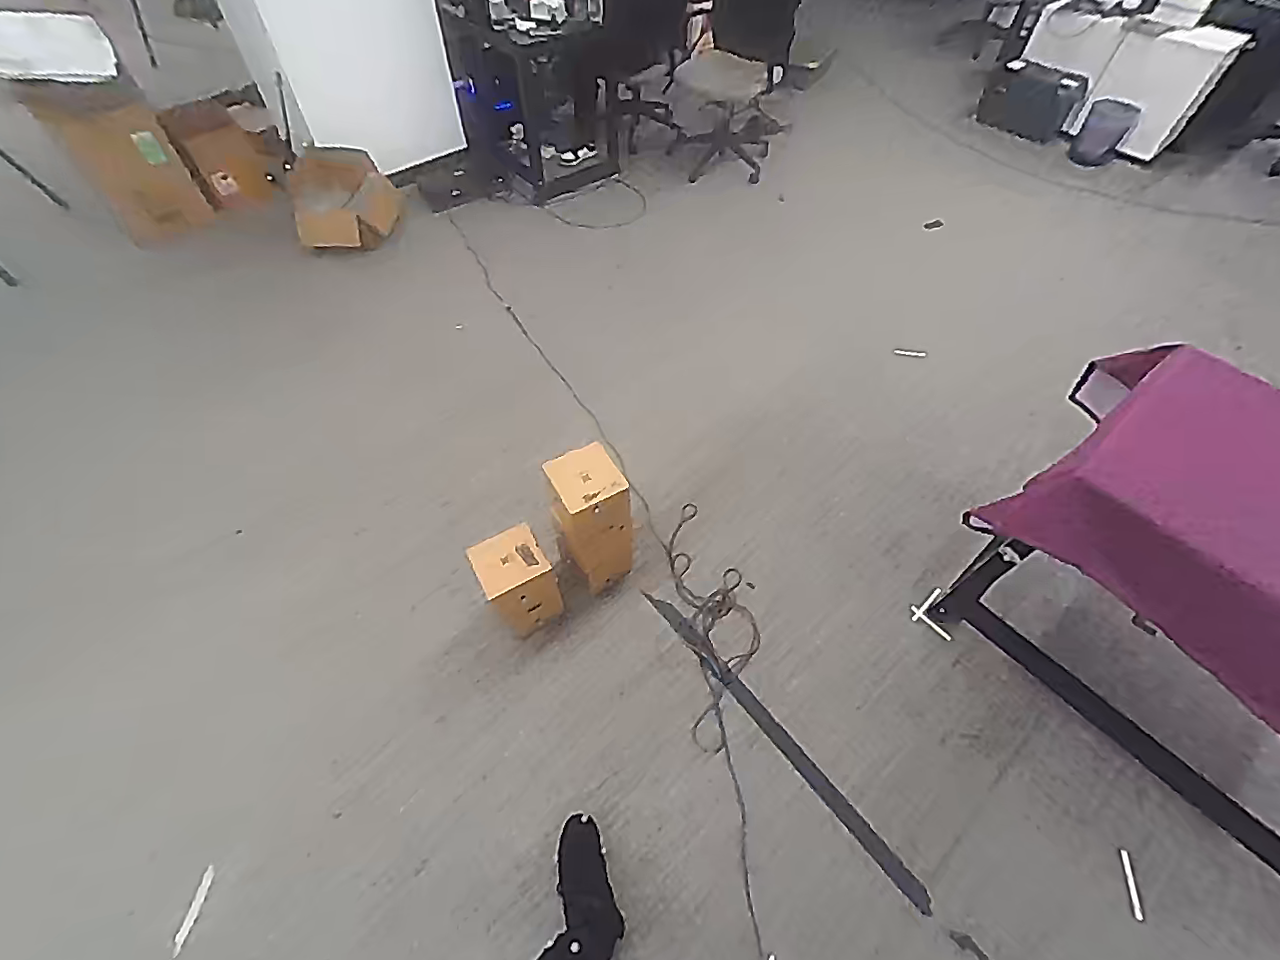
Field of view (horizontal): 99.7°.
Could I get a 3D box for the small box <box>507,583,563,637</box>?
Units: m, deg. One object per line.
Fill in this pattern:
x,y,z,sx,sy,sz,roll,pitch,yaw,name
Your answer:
-0.344,0.332,1.605,0.168,0.176,0.179,-29,61,-19,small box

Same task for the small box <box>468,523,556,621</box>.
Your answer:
-0.338,0.251,1.462,0.179,0.176,0.168,-26,59,-17,small box

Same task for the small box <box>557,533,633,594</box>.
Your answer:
-0.139,0.224,1.689,0.168,0.176,0.179,-33,62,-21,small box

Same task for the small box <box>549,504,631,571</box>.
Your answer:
-0.136,0.131,1.556,0.179,0.176,0.168,-32,61,-21,small box

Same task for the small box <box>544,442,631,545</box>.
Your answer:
-0.135,0.038,1.420,0.168,0.176,0.179,-25,58,-17,small box
